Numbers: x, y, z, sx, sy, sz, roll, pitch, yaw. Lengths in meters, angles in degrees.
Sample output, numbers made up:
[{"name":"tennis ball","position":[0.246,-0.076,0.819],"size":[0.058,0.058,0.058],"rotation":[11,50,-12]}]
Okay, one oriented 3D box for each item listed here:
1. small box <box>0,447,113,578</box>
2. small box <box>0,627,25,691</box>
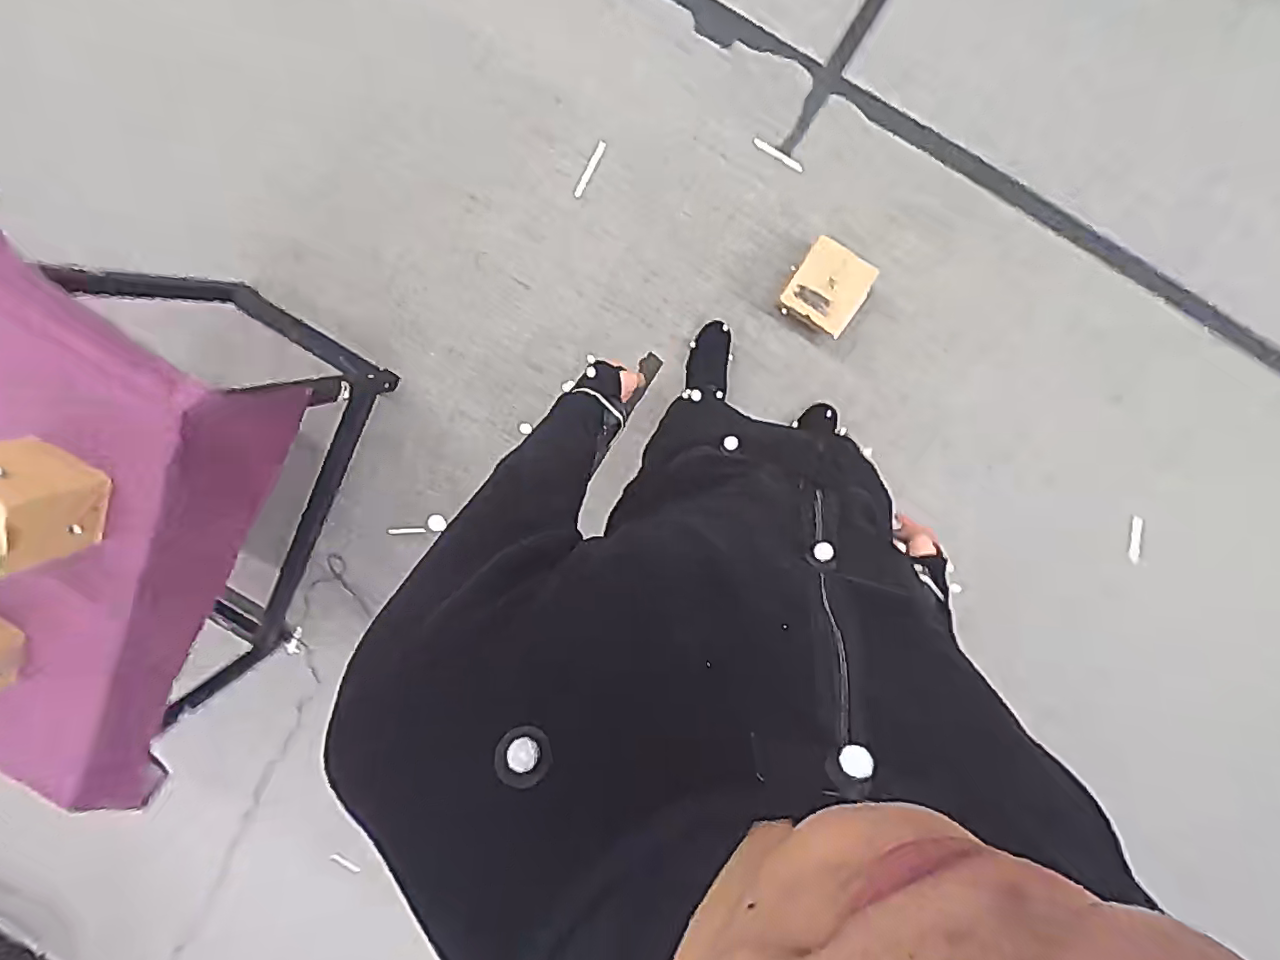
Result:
[{"name":"small box","position":[-1.158,0.052,1.008],"size":[0.179,0.176,0.168],"rotation":[30,107,0]},{"name":"small box","position":[-1.501,0.398,1.155],"size":[0.179,0.176,0.168],"rotation":[31,108,-1]}]
